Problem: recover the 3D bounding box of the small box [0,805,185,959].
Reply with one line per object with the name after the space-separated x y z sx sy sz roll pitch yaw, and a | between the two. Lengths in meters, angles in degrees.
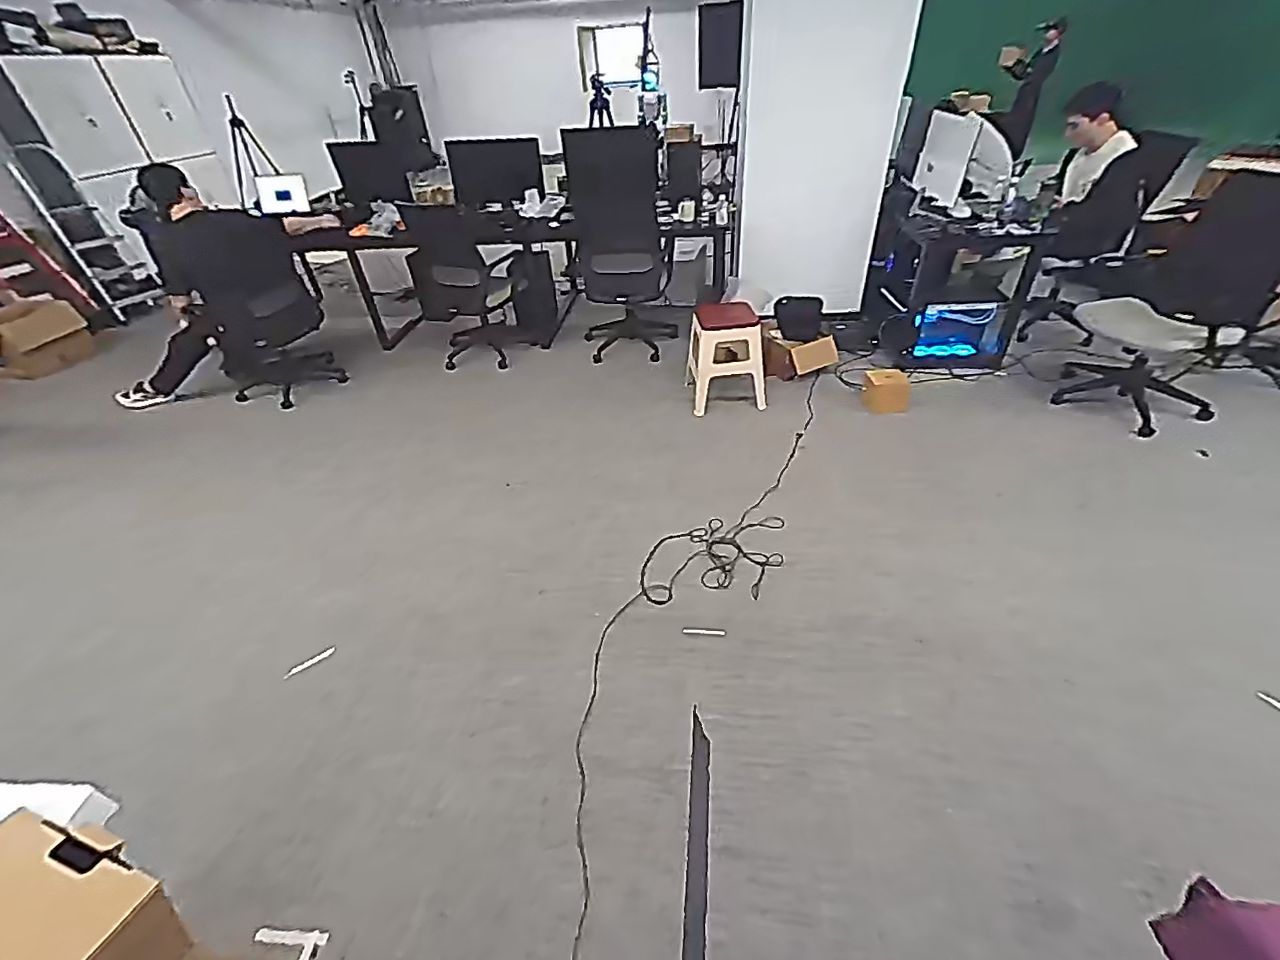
-0.550 0.438 0.467 0.168 0.176 0.179 22 32 7 | small box
